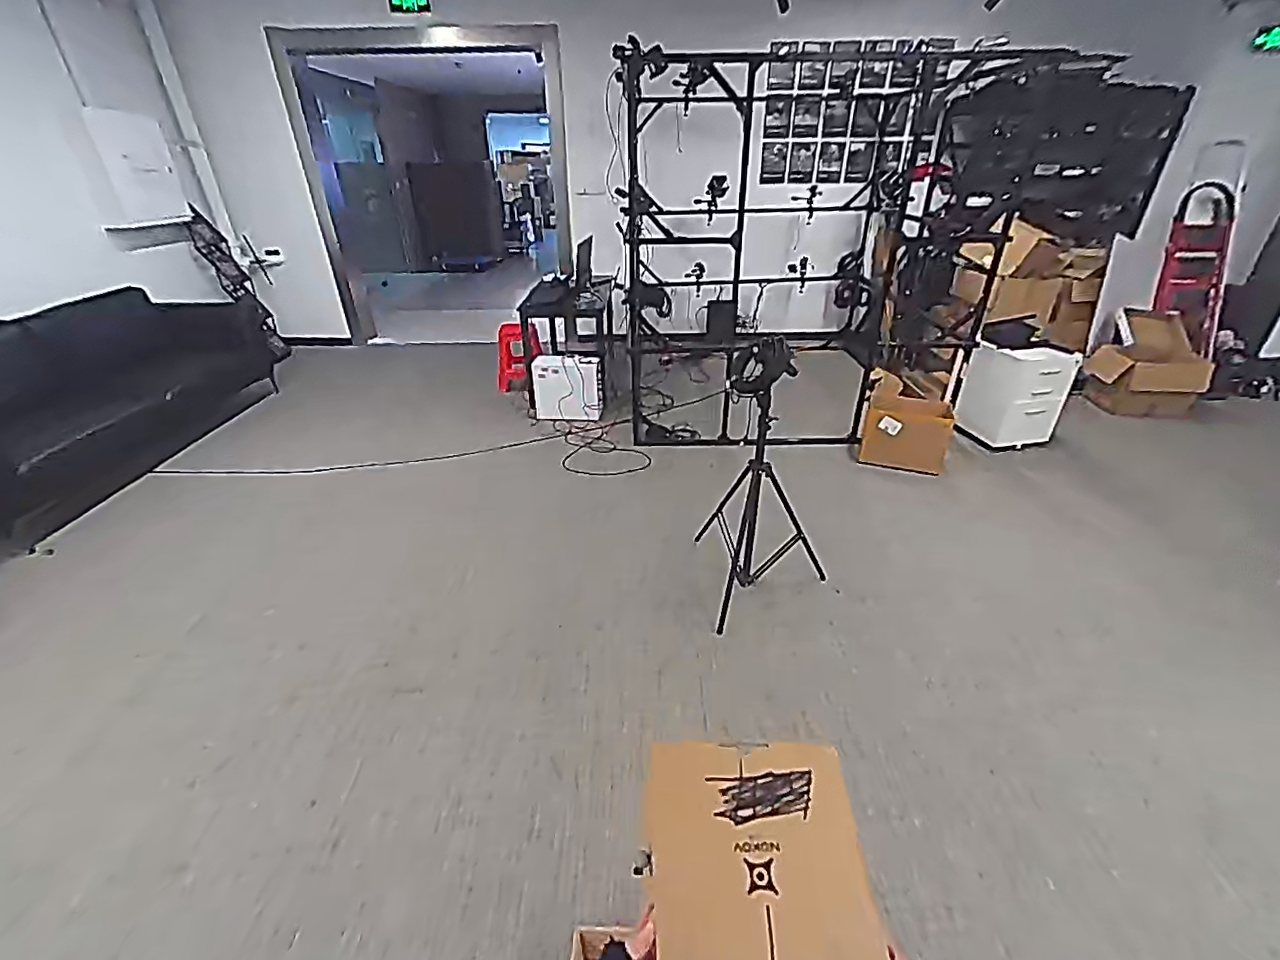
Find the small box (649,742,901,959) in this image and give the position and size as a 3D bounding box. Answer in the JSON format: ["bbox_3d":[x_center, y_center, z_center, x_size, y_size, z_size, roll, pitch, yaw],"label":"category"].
[{"bbox_3d":[0.094,0.348,0.464,0.168,0.176,0.179,1,43,-2],"label":"small box"}]
